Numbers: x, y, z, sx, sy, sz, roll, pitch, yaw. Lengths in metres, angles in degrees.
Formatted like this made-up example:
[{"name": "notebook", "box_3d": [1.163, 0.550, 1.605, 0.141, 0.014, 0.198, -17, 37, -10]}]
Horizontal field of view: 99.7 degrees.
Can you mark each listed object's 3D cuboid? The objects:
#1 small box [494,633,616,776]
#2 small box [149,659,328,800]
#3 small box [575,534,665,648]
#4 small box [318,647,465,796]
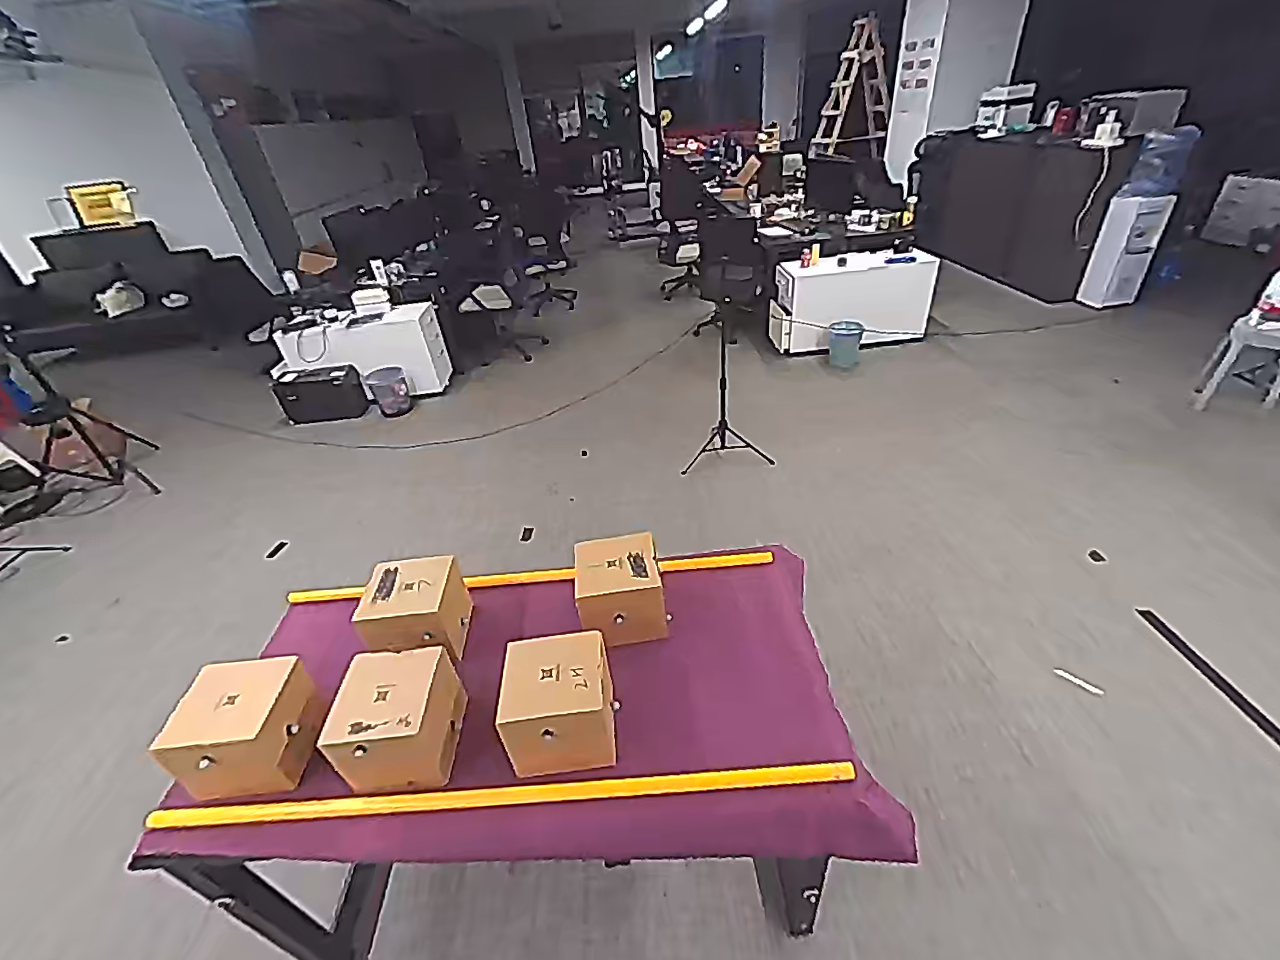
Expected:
[{"name": "small box", "box_3d": [-0.142, 0.400, 0.961, 0.179, 0.176, 0.168, -7, 33, 0]}, {"name": "small box", "box_3d": [-0.707, 0.452, 0.983, 0.179, 0.176, 0.168, -6, 34, -1]}, {"name": "small box", "box_3d": [-0.041, 0.242, 1.172, 0.179, 0.176, 0.168, -9, 36, -1]}, {"name": "small box", "box_3d": [-0.427, 0.430, 0.967, 0.168, 0.176, 0.179, -7, 34, 2]}]
